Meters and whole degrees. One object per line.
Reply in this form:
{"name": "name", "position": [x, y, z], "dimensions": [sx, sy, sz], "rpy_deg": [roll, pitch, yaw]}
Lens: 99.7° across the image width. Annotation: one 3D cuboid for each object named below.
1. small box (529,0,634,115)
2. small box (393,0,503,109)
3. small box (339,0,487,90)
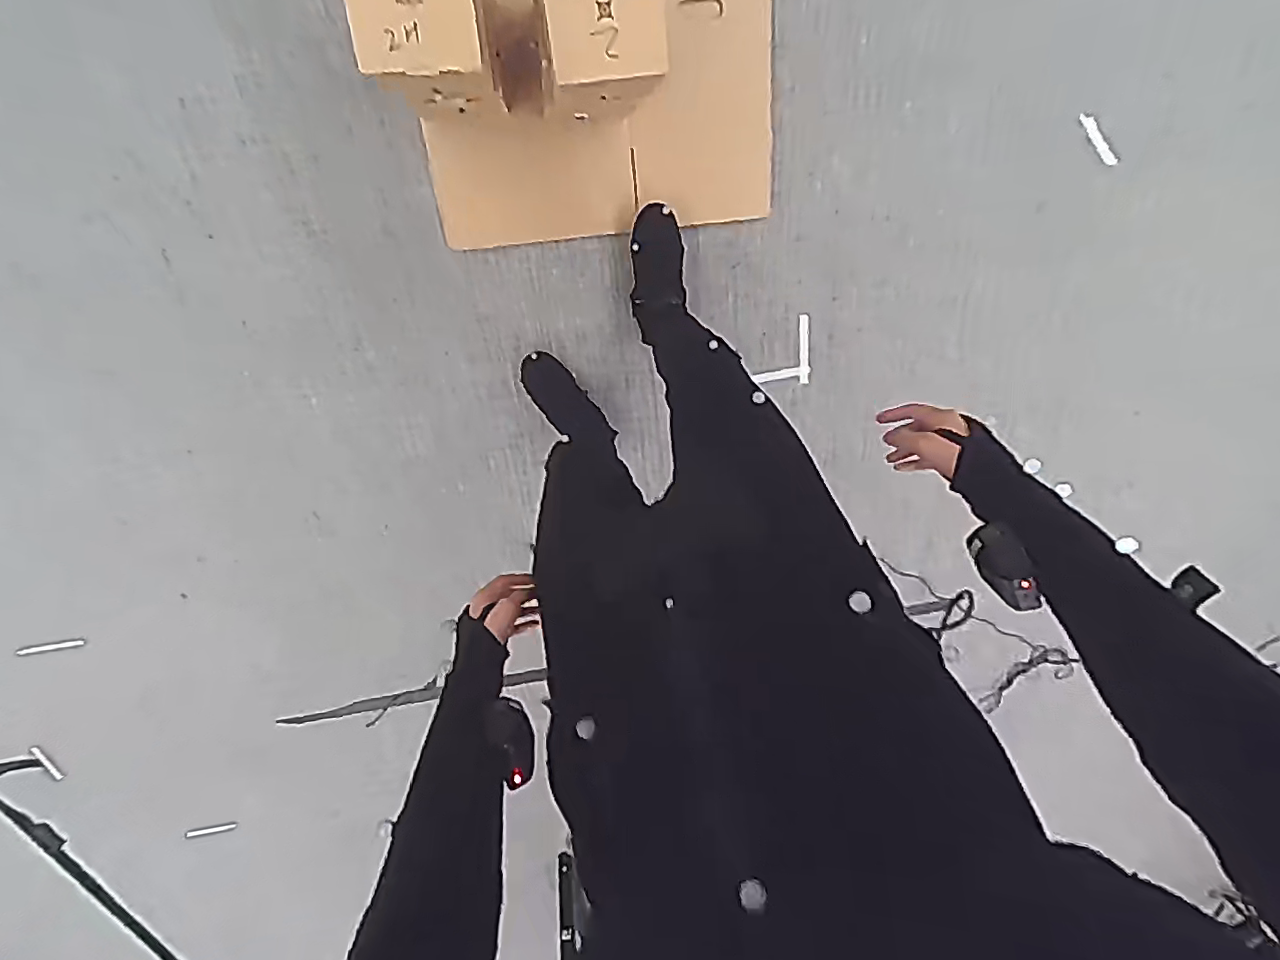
{"name": "small box", "position": [-0.104, -0.758, 0.943], "dimensions": [0.168, 0.176, 0.179], "rpy_deg": [-6, 116, -7]}
{"name": "small box", "position": [-0.332, -0.741, 0.913], "dimensions": [0.168, 0.176, 0.179], "rpy_deg": [-7, 117, -6]}
{"name": "small box", "position": [-0.318, -0.674, 0.762], "dimensions": [0.168, 0.176, 0.179], "rpy_deg": [-6, 117, -6]}
